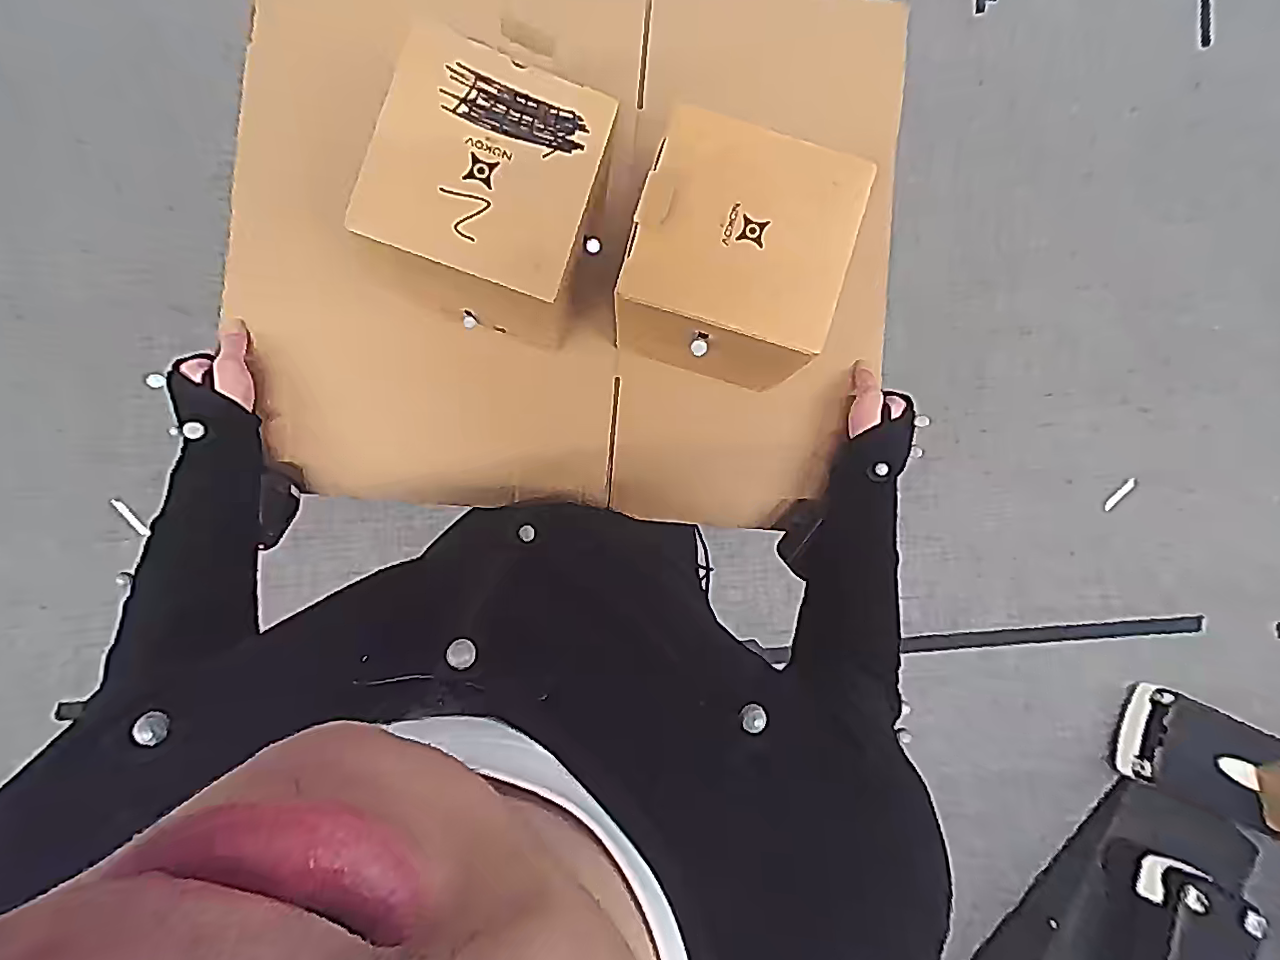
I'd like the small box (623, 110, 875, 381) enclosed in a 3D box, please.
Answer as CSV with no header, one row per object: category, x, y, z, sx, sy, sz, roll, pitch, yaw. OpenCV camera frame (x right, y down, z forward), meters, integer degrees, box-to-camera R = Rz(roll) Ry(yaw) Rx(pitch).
small box,0.091,-0.206,0.529,0.179,0.176,0.168,17,89,0
